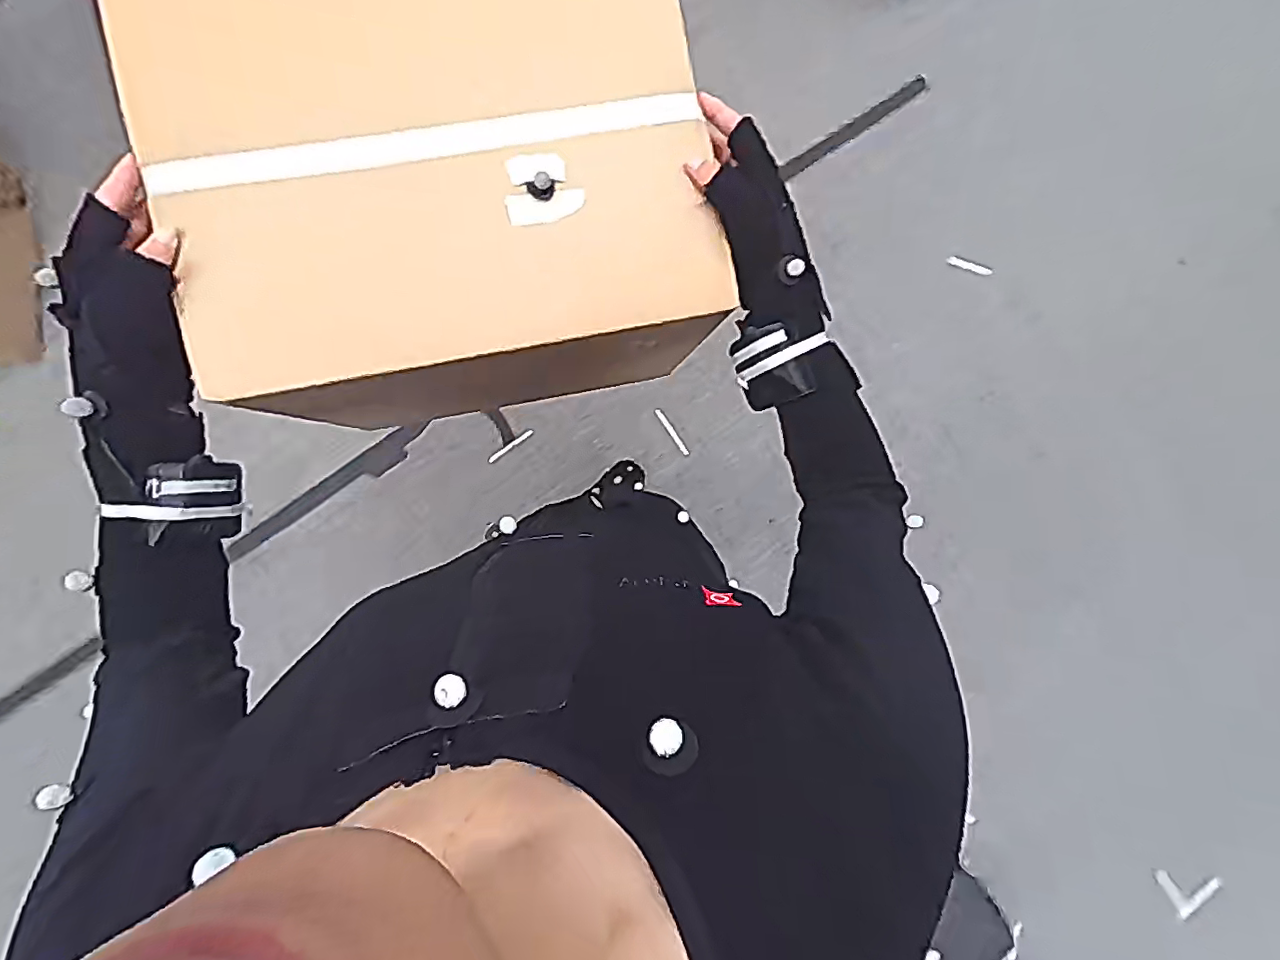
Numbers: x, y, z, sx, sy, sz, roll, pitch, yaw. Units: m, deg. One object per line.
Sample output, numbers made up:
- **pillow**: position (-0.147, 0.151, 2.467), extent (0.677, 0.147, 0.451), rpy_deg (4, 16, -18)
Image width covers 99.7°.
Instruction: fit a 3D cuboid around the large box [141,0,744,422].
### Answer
- **large box**: position (-0.157, -0.259, 0.558), extent (0.408, 0.320, 0.320), rpy_deg (-12, 93, -8)
